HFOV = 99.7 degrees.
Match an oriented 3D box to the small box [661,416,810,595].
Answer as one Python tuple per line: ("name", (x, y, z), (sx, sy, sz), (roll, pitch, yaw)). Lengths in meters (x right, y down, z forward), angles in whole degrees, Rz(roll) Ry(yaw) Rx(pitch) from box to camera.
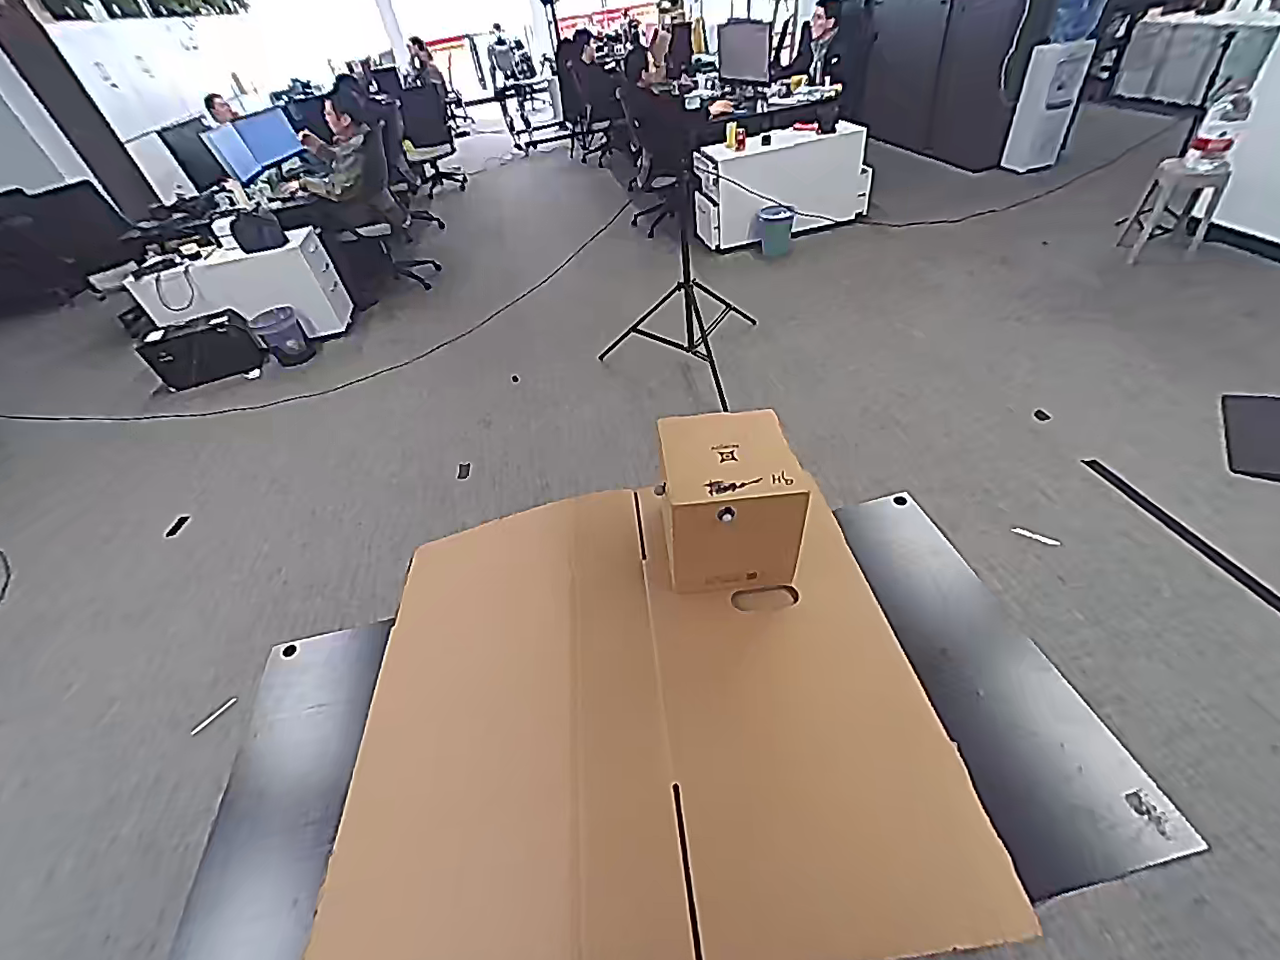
("small box", (0.119, 0.033, 0.745), (0.168, 0.176, 0.179), (-6, 40, 0))
